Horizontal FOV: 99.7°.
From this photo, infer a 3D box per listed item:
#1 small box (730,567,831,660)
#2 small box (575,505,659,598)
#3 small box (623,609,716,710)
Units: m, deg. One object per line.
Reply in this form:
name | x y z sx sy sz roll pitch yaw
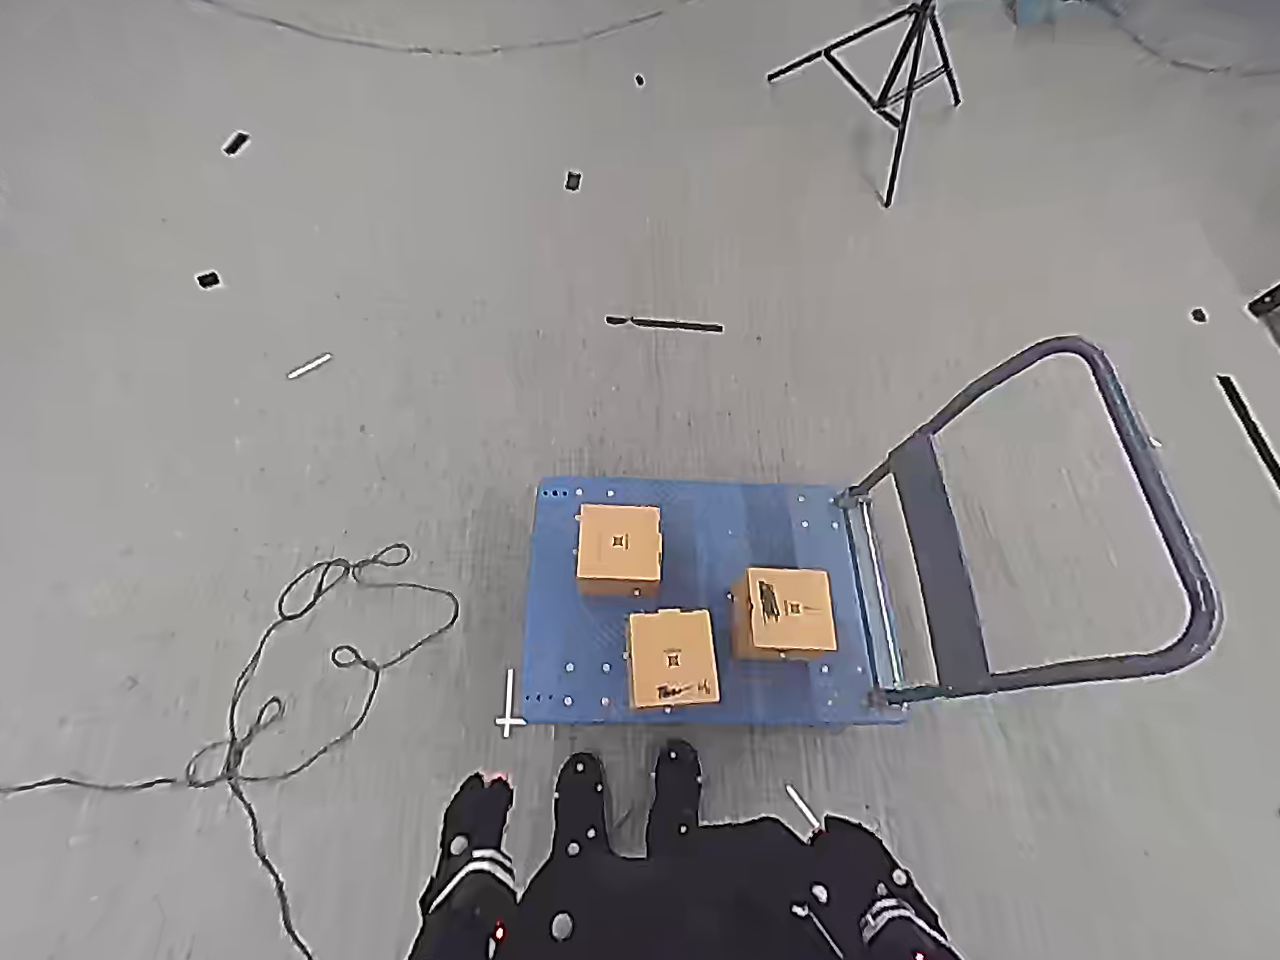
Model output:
small box | 0.299 0.300 1.194 0.179 0.176 0.168 4 64 -4
small box | -0.054 0.166 1.227 0.179 0.176 0.168 2 64 -4
small box | 0.053 0.380 1.135 0.168 0.176 0.179 -2 64 -6
